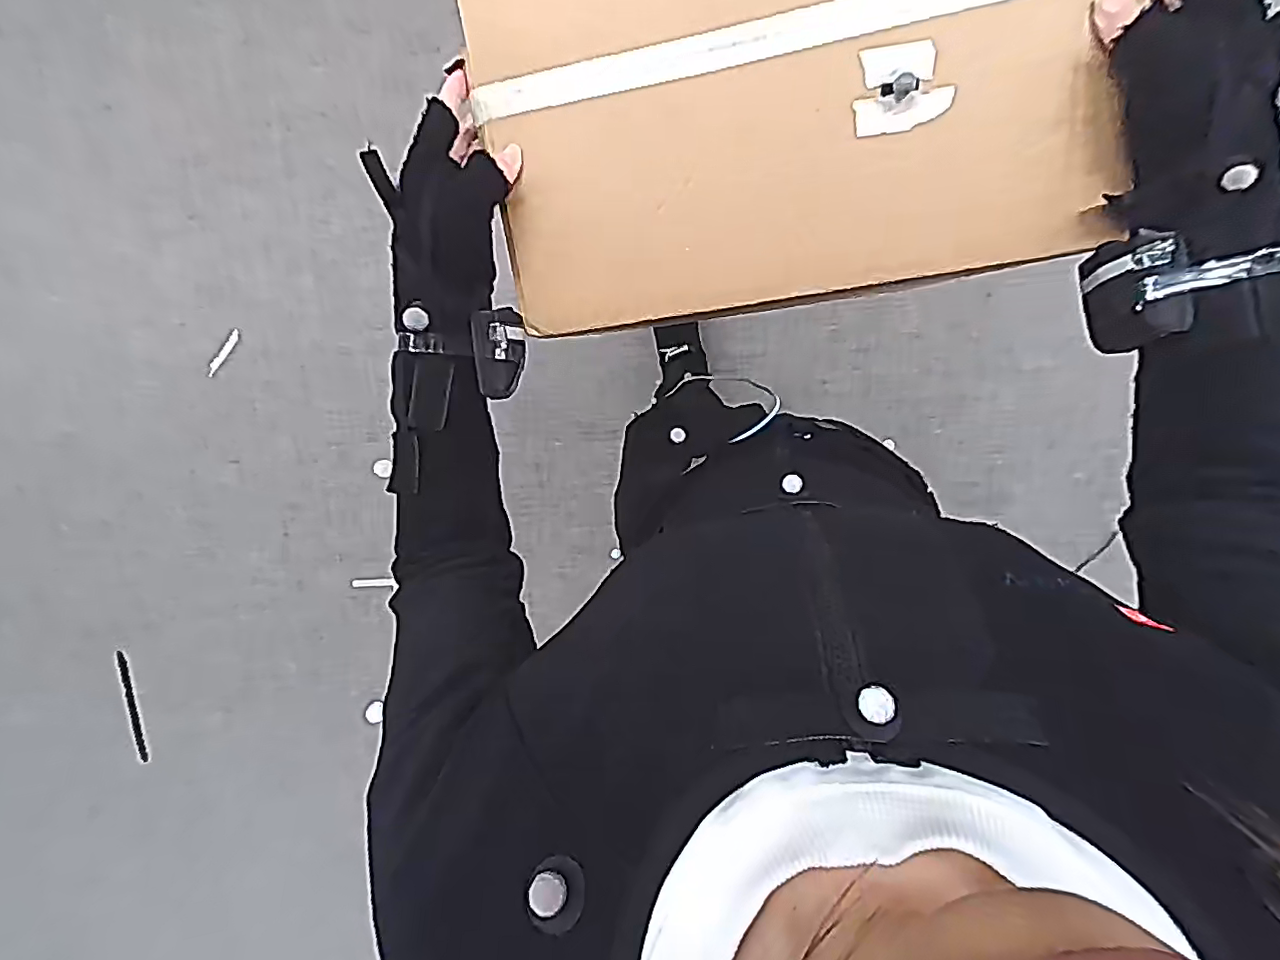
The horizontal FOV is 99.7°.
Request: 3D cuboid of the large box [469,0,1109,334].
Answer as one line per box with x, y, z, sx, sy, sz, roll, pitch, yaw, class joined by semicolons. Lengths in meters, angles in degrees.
0.104;-0.324;0.498;0.408;0.320;0.320;-7;105;8;large box
